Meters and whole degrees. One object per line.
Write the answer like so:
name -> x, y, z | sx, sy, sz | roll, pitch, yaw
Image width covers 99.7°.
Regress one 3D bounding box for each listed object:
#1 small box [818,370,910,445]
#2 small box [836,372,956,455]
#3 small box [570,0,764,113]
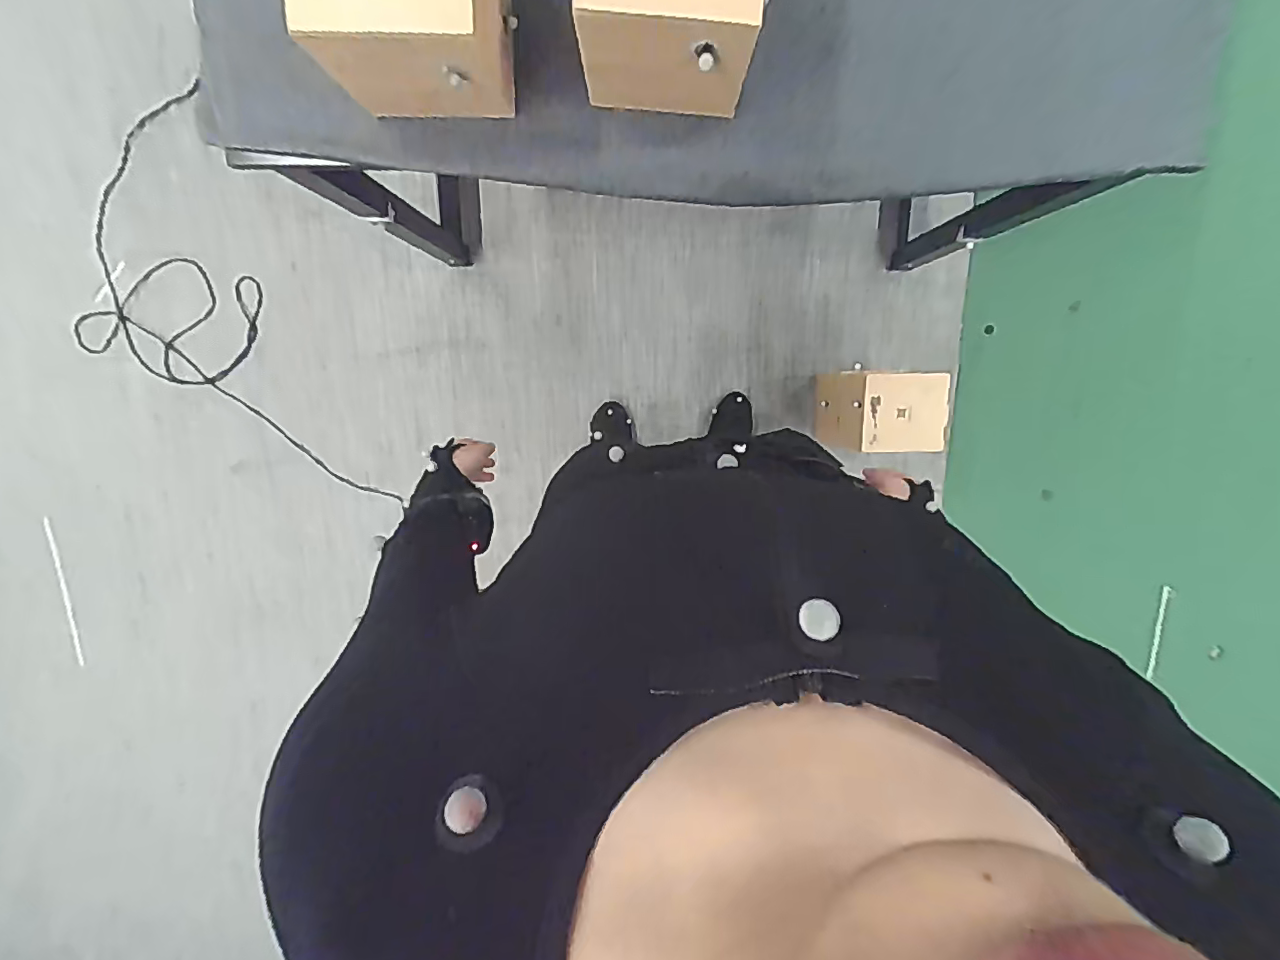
small box -> 0.552, -0.186, 1.352 | 0.168, 0.176, 0.179 | -1, 100, 1
small box -> 0.553, -0.151, 1.190 | 0.179, 0.176, 0.168 | 1, 102, 1
small box -> 0.033, -0.509, 0.555 | 0.179, 0.176, 0.168 | 6, 99, 1
